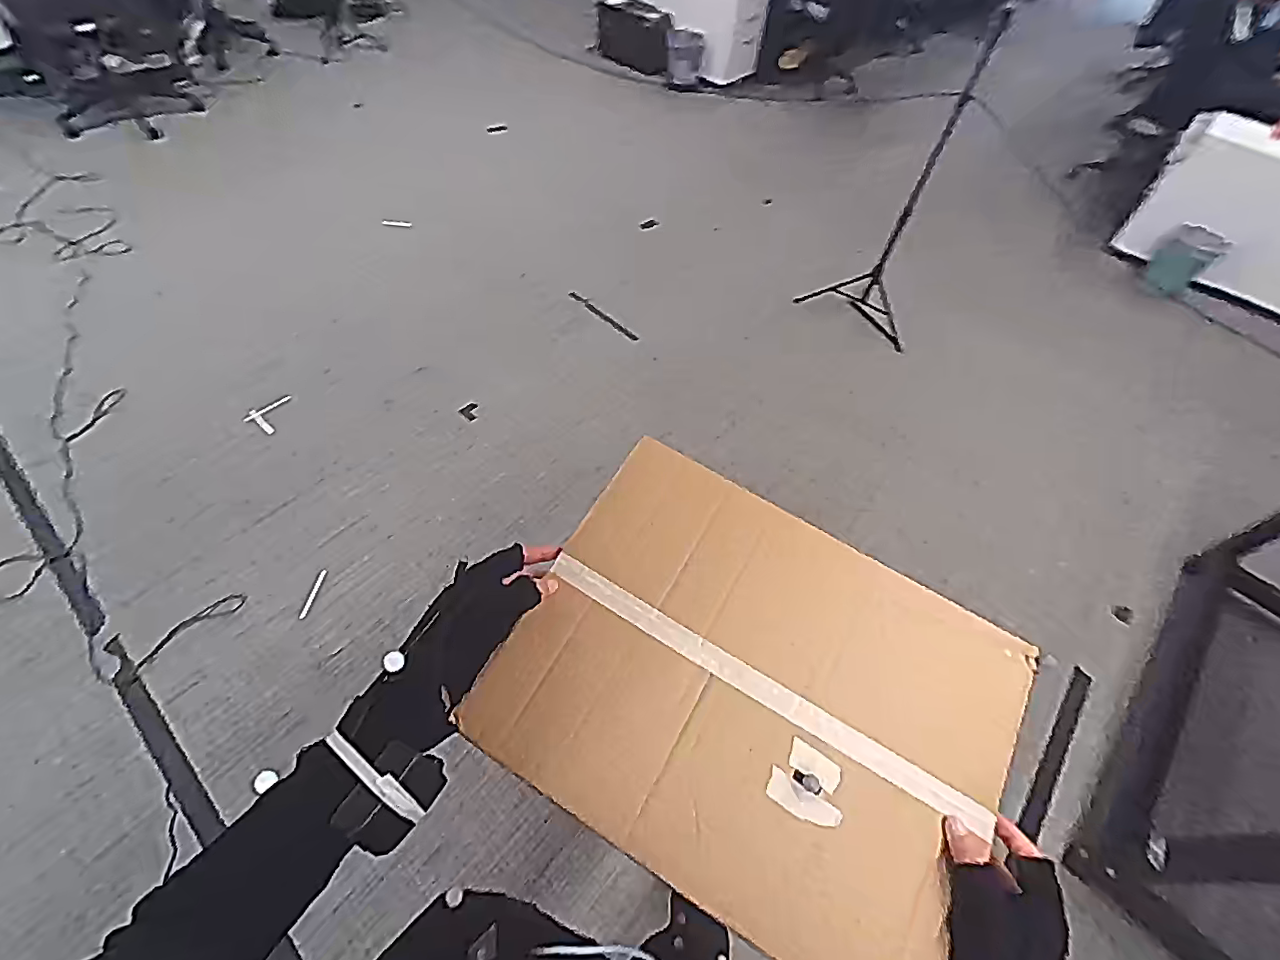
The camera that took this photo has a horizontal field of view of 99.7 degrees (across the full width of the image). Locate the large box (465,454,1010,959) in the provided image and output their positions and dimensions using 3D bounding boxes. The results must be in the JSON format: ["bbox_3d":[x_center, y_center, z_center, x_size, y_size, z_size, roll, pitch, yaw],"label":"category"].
[{"bbox_3d":[0.088,0.241,0.608,0.408,0.320,0.320,29,68,10],"label":"large box"}]
